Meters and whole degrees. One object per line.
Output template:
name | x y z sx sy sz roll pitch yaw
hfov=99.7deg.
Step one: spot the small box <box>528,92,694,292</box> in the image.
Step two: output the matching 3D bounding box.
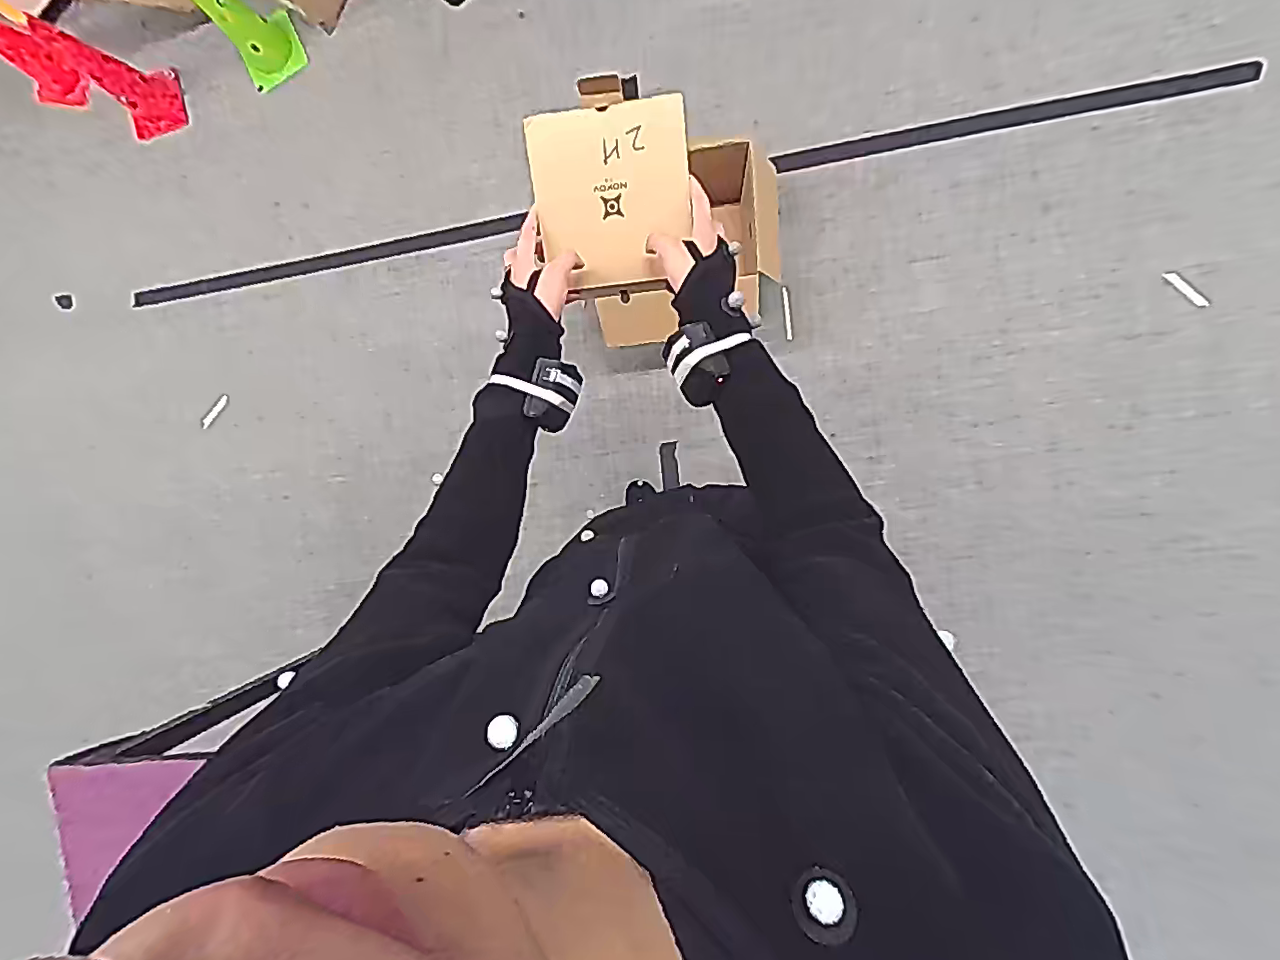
small box | -0.022 -0.324 0.648 0.168 0.176 0.179 -5 105 5
